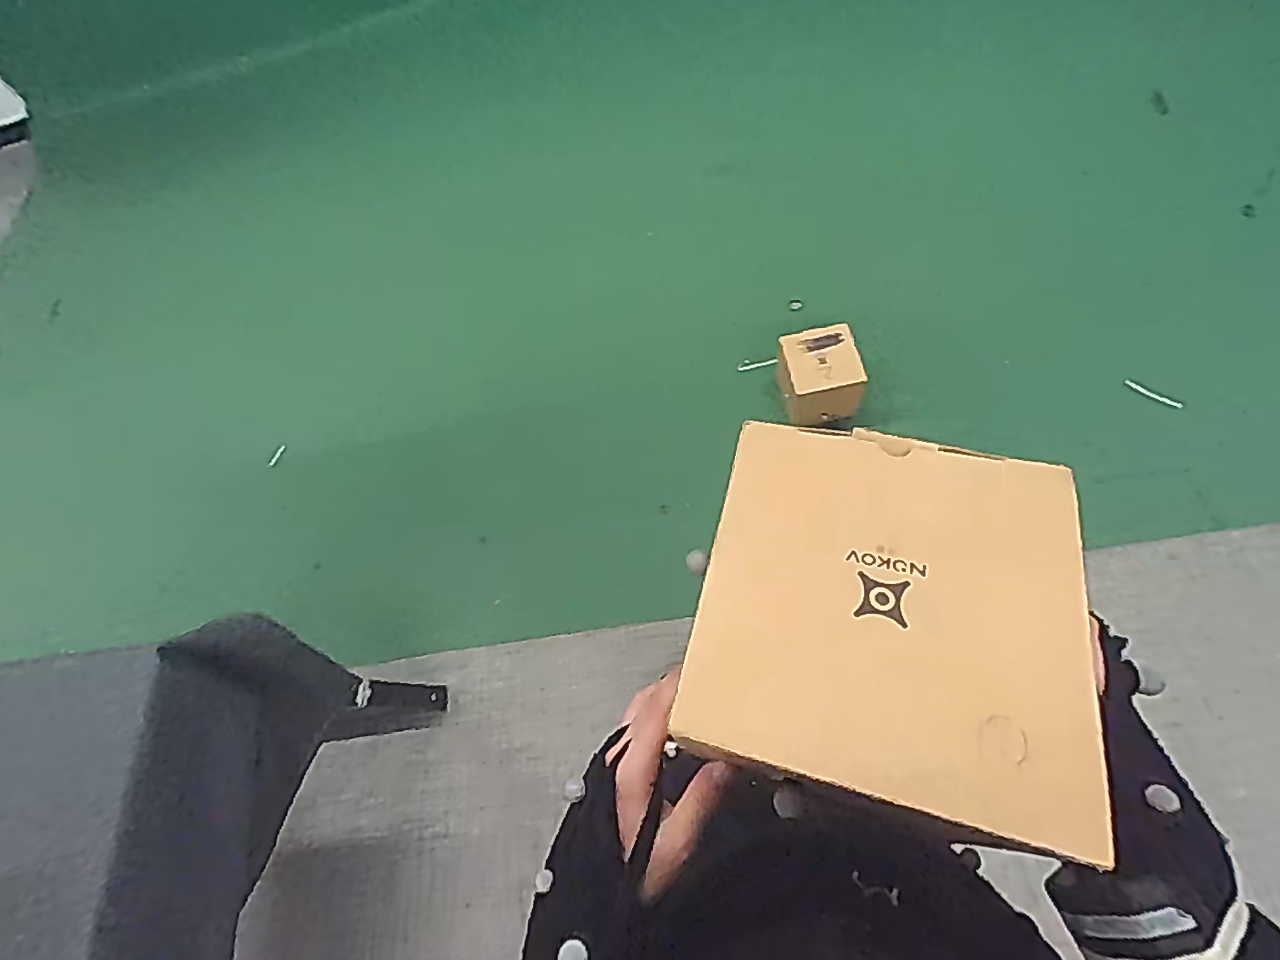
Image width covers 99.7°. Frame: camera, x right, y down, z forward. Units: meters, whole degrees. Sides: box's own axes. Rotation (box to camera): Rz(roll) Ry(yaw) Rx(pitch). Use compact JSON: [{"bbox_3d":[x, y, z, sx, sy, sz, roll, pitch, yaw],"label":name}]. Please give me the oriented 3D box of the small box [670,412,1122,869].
[{"bbox_3d":[0.127,0.088,0.313,0.168,0.176,0.179,11,61,16],"label":"small box"}]
